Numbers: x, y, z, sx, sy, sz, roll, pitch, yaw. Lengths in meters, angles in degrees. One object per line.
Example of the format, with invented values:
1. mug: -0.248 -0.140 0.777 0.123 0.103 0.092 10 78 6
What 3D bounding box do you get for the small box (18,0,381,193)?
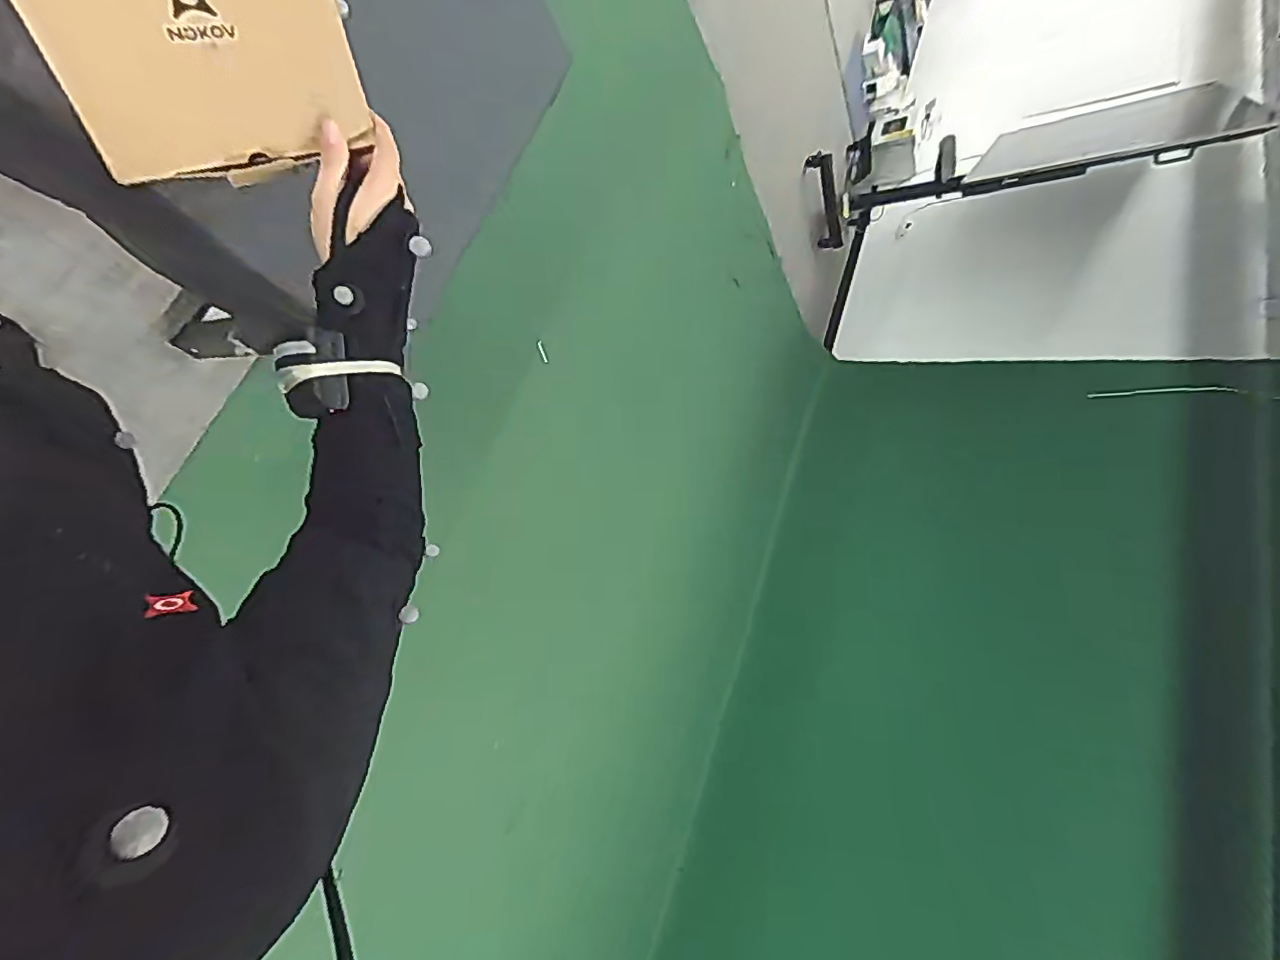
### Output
1. small box: -0.314 -0.327 0.383 0.168 0.176 0.179 -27 135 -24
